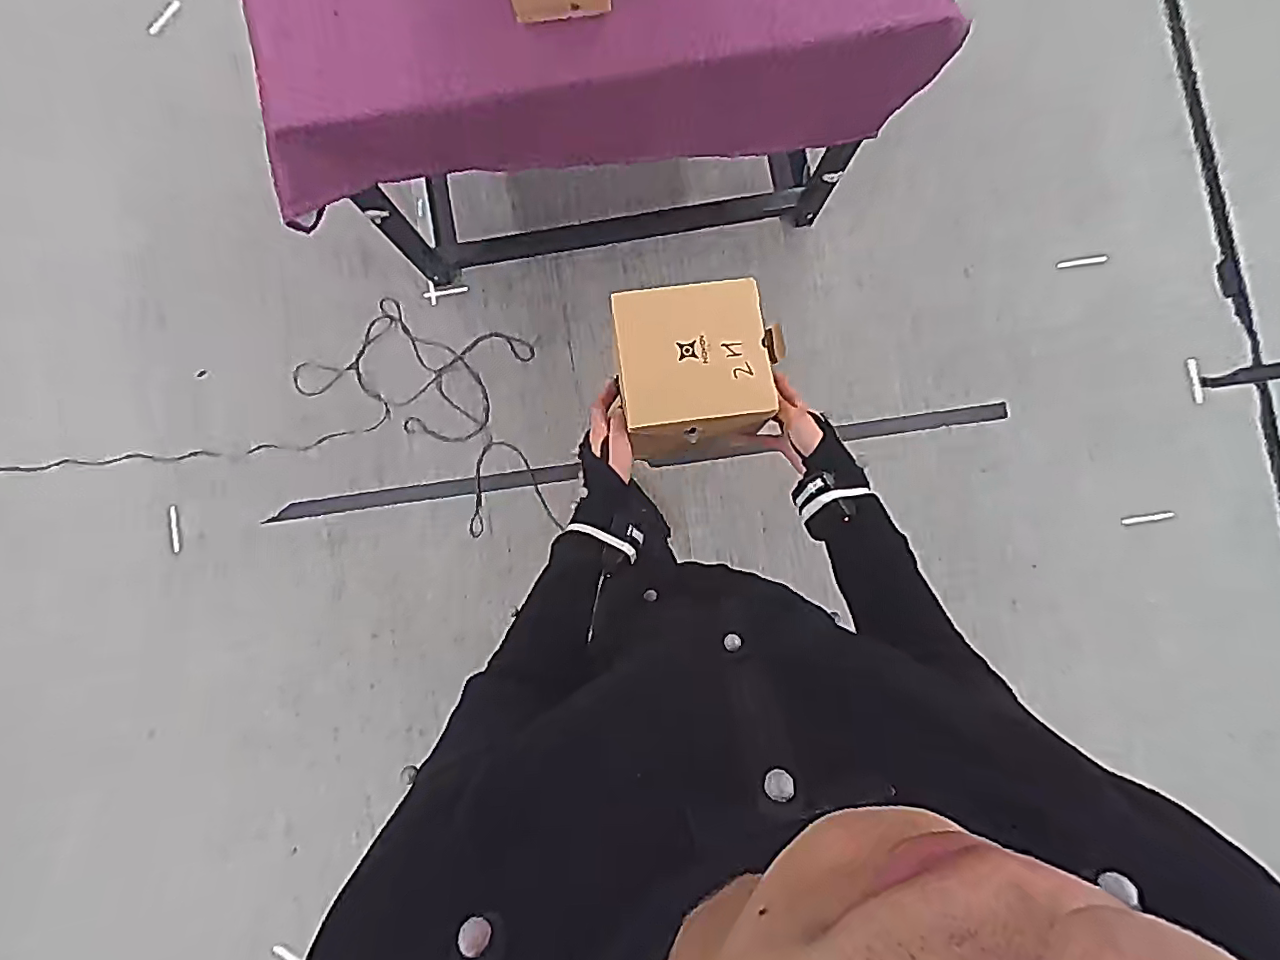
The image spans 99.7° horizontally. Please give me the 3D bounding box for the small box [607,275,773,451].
[{"bbox_3d":[0.055,-0.140,0.699,0.179,0.176,0.168,-7,81,-4],"label":"small box"}]
